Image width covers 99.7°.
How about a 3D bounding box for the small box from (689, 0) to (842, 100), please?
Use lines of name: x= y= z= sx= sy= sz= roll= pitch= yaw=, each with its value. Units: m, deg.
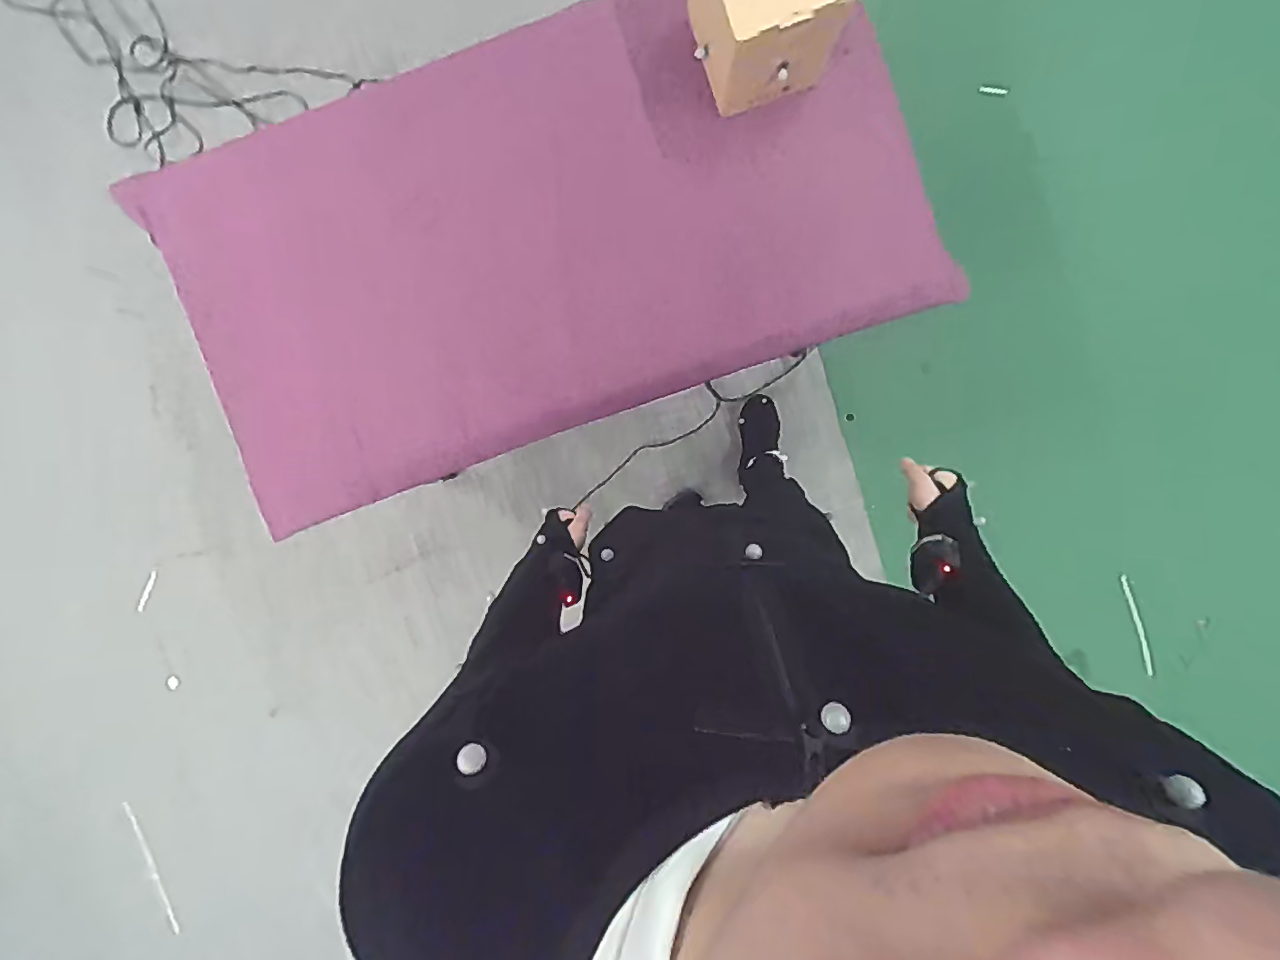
small box: x=0.173 y=-0.689 z=0.772 sx=0.168 sy=0.176 sz=0.179 roll=-19 pitch=93 yaw=4
